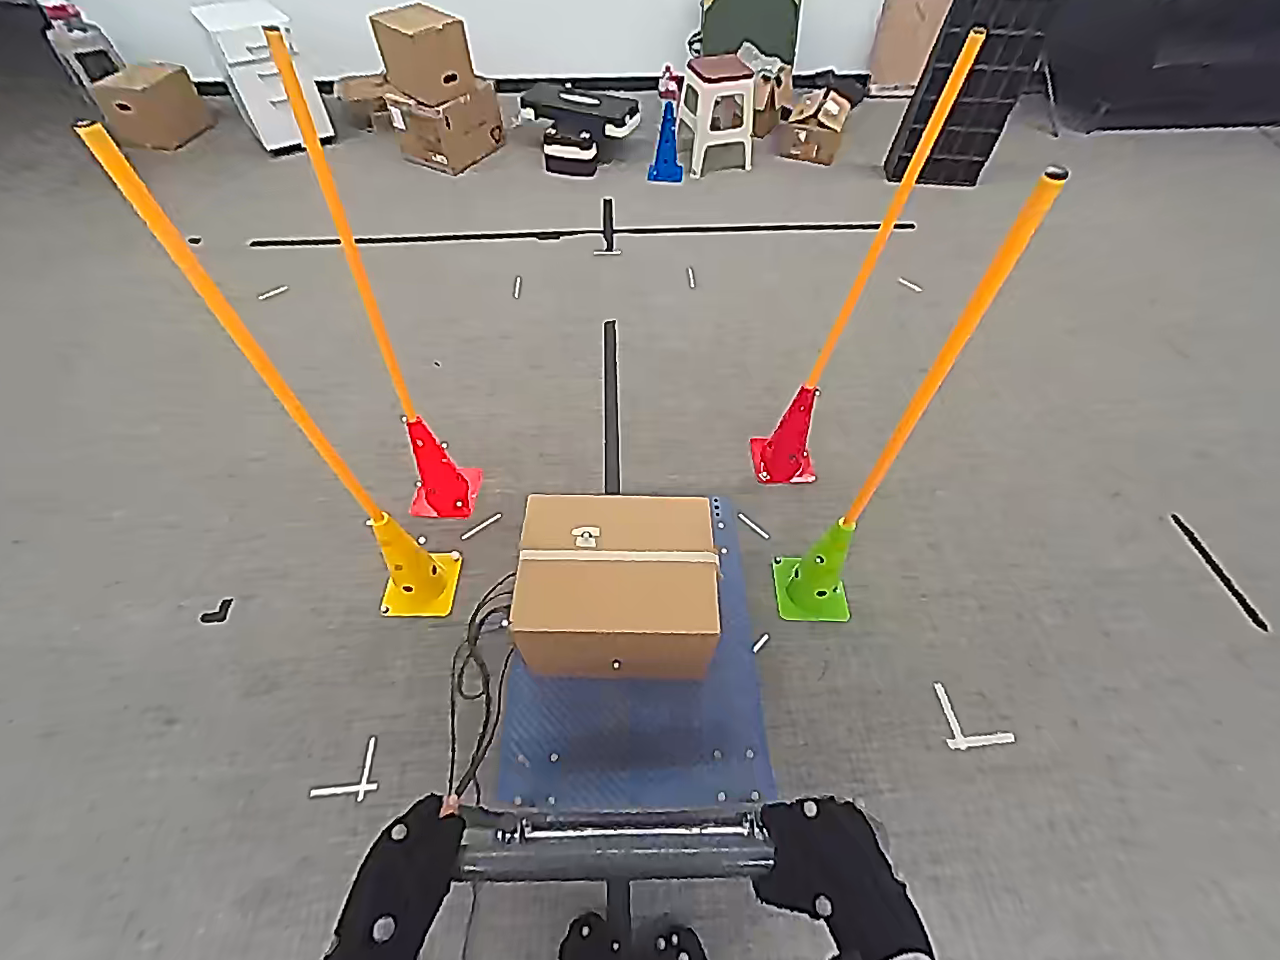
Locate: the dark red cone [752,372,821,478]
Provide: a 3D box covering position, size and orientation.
[{"bbox_3d":[0.502,-0.183,1.729,0.201,0.394,0.202,-1,54,-4],"label":"dark red cone"}]

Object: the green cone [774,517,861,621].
[{"bbox_3d":[0.506,0.216,1.452,0.202,0.368,0.200,2,53,-1],"label":"green cone"}]

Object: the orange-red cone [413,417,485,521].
[{"bbox_3d":[-0.623,-0.058,1.652,0.198,0.360,0.199,4,52,2],"label":"orange-red cone"}]

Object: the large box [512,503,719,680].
[{"bbox_3d":[-0.044,0.262,1.235,0.408,0.320,0.320,0,54,1],"label":"large box"}]
